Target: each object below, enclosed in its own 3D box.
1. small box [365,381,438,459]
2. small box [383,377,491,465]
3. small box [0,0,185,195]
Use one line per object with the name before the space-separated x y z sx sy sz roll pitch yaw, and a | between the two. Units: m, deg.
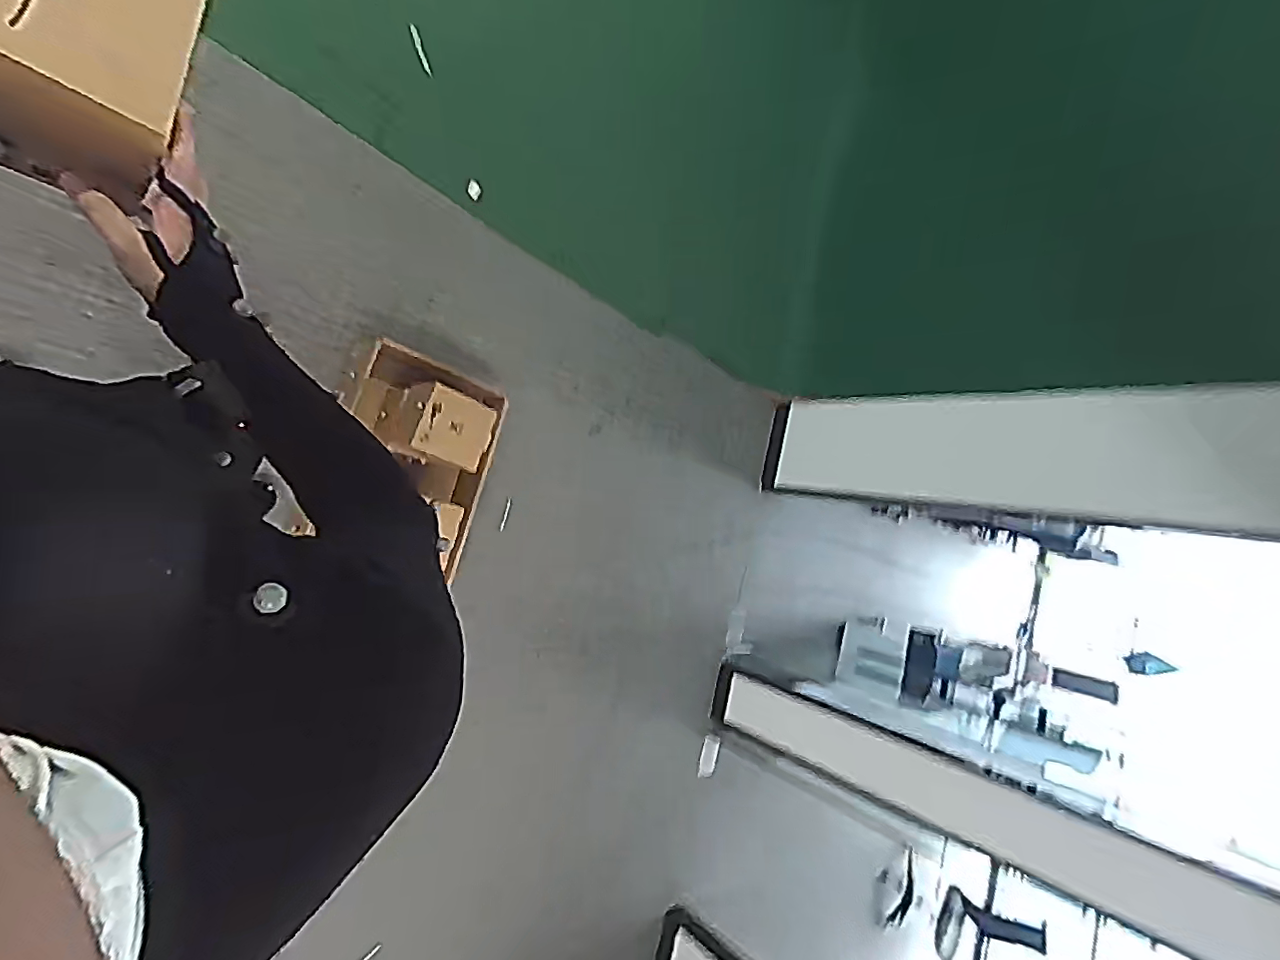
small box | -0.638 -0.163 1.505 0.179 0.176 0.168 21 82 -43
small box | -0.522 -0.151 1.387 0.179 0.176 0.168 28 76 -43
small box | -0.478 -0.366 0.415 0.168 0.176 0.179 14 76 -49
